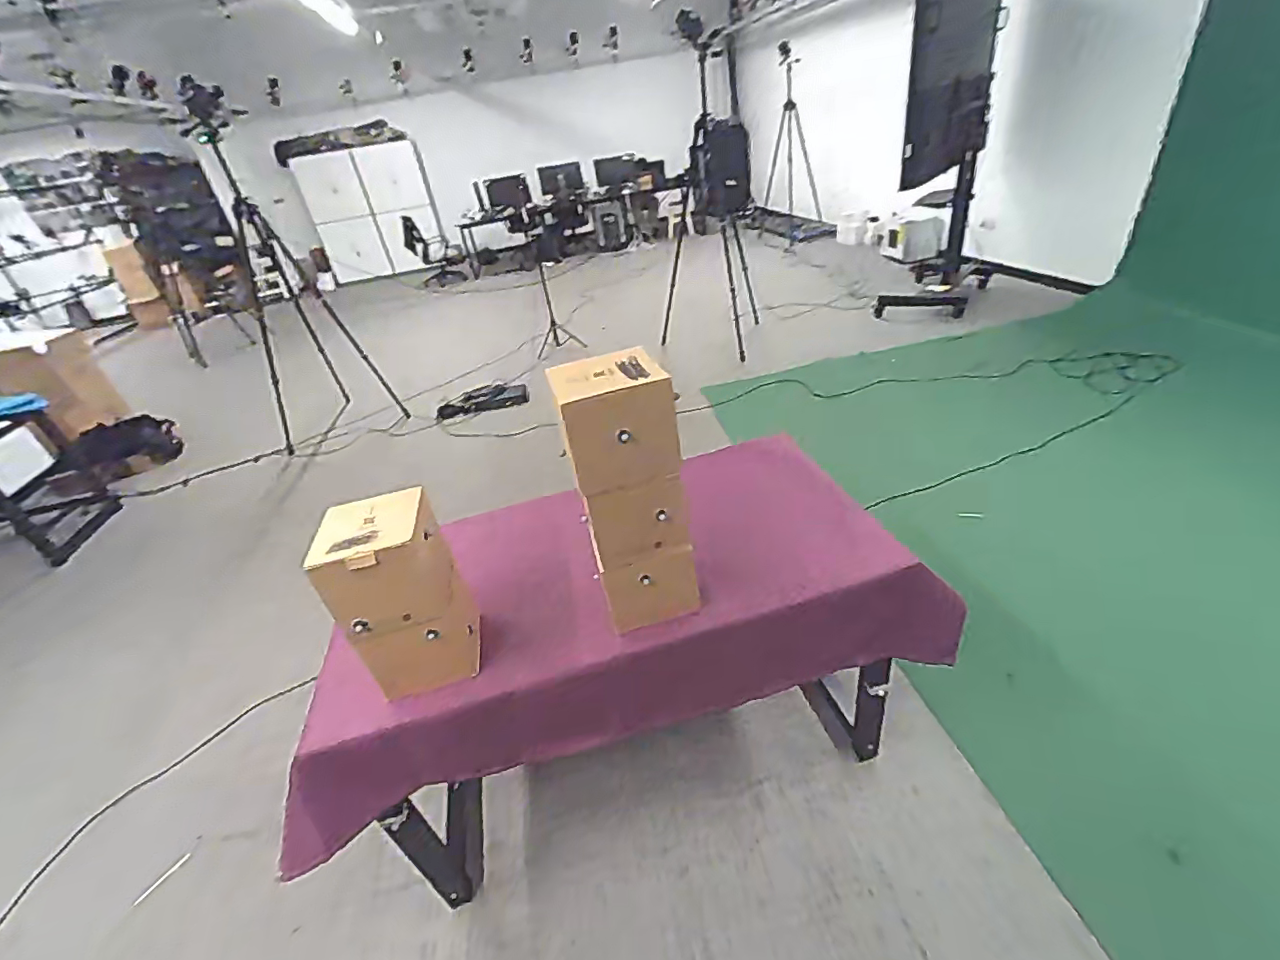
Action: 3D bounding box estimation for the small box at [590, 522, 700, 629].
[{"bbox_3d":[0.009,0.171,1.077,0.179,0.176,0.168,-14,34,-6],"label":"small box"}]

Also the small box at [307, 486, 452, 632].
[{"bbox_3d":[-0.438,0.141,0.941,0.168,0.176,0.179,-14,31,-8],"label":"small box"}]

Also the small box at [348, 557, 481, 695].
[{"bbox_3d":[-0.416,0.278,1.028,0.179,0.176,0.168,-14,33,-8],"label":"small box"}]

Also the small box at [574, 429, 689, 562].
[{"bbox_3d":[-0.015,0.033,0.994,0.168,0.176,0.179,-14,32,-8],"label":"small box"}]
